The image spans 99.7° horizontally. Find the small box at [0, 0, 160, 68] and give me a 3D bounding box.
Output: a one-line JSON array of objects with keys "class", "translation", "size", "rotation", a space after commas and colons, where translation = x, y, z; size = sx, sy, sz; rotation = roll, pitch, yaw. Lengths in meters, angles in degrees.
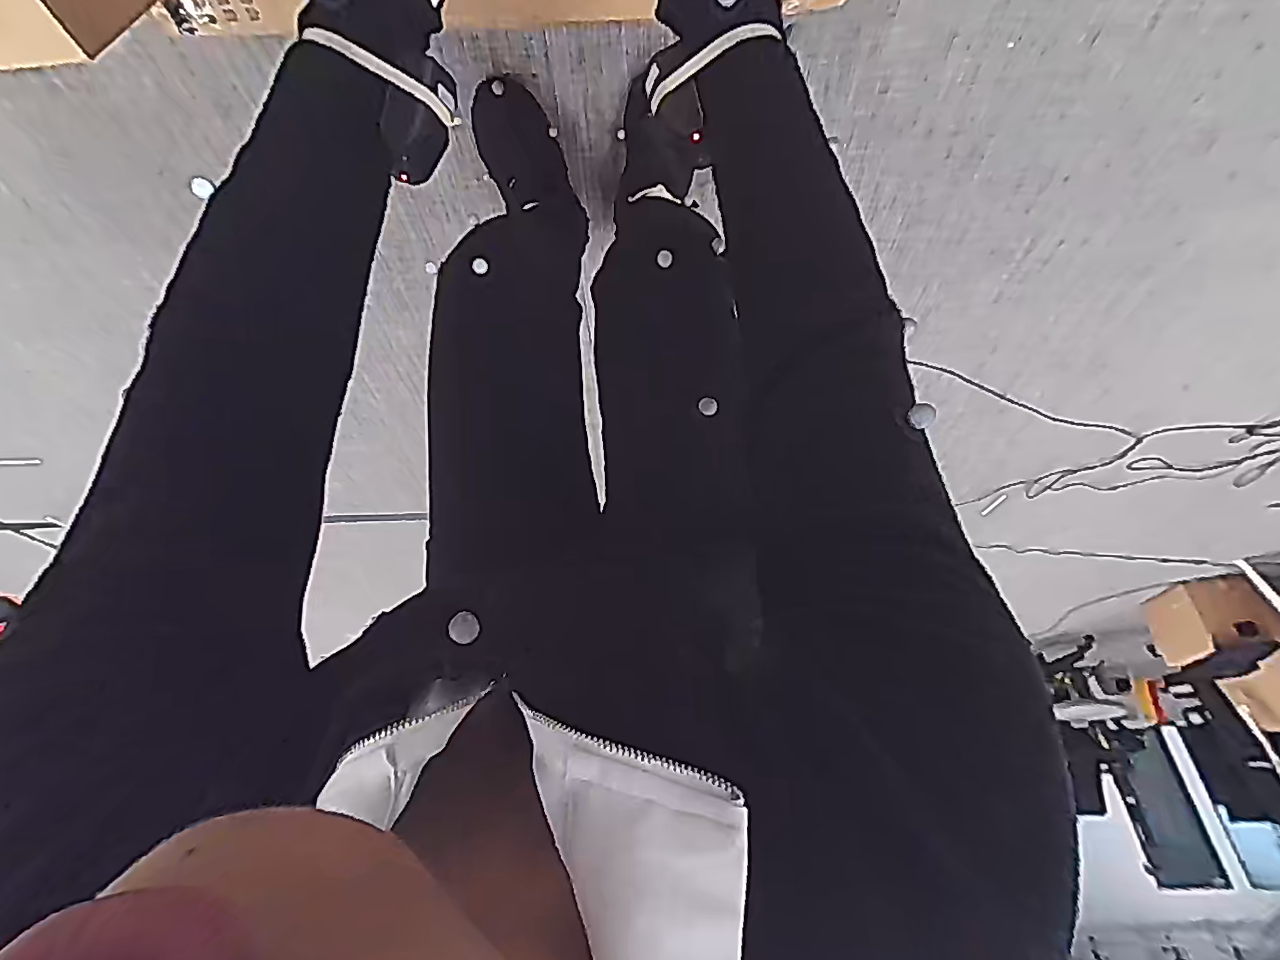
[{"class": "small box", "translation": [-0.418, -0.365, 0.301], "size": [0.168, 0.176, 0.179], "rotation": [-3, 149, 2]}]
